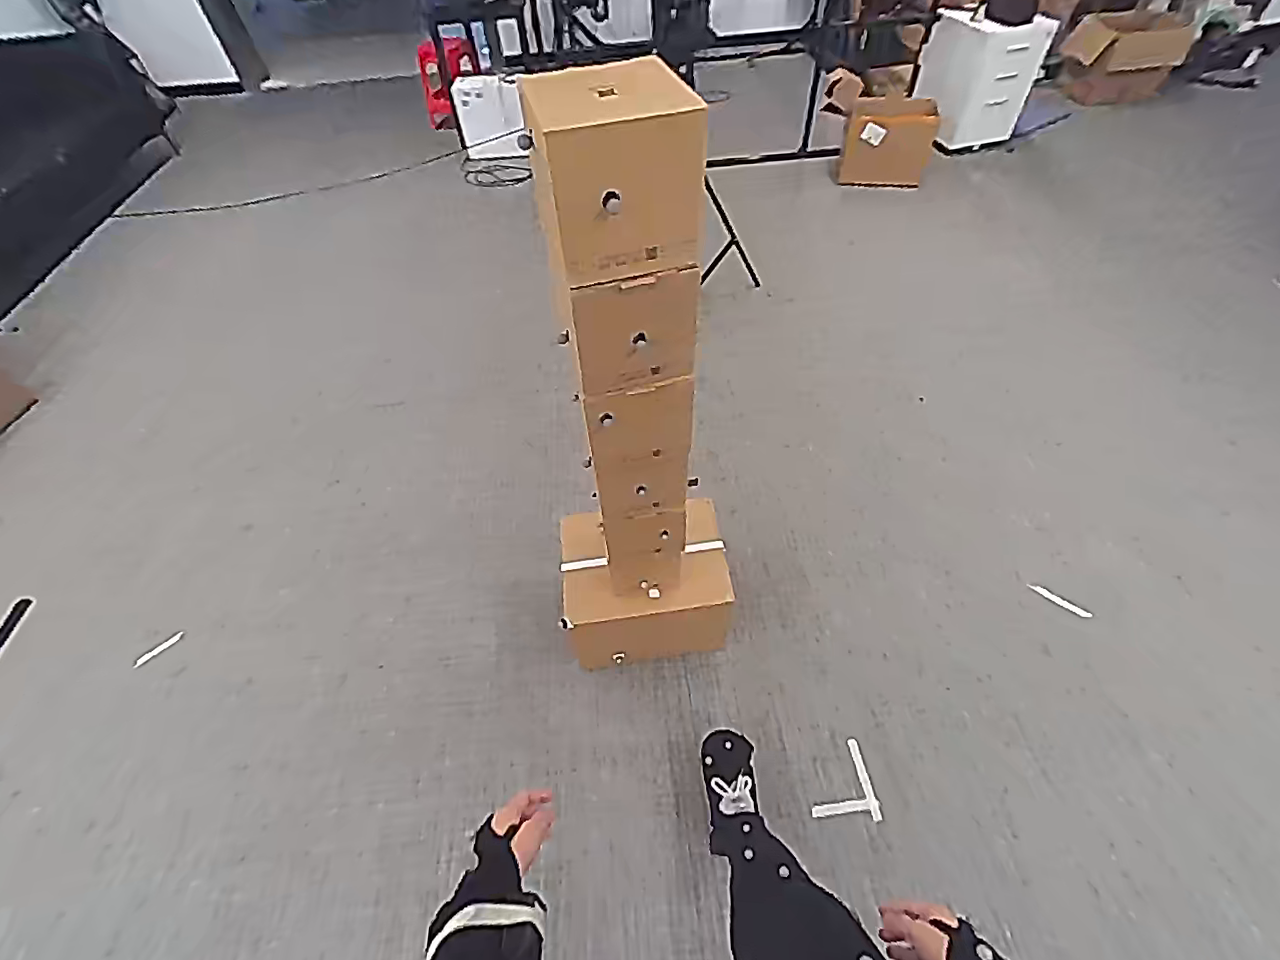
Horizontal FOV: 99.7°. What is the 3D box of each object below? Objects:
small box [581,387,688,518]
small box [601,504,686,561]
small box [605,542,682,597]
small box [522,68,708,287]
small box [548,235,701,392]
[{"bbox_3d":[-0.011,-0.044,1.018,0.168,0.176,0.179,-11,53,-7],"label":"small box"},{"bbox_3d":[0.001,0.059,1.146,0.168,0.176,0.179,-8,51,-4],"label":"small box"},{"bbox_3d":[0.003,0.154,1.277,0.168,0.176,0.179,-8,53,-2],"label":"small box"},{"bbox_3d":[-0.028,-0.343,0.630,0.168,0.176,0.179,-14,52,-9],"label":"small box"},{"bbox_3d":[-0.022,-0.242,0.757,0.168,0.176,0.179,-14,54,-9],"label":"small box"}]
